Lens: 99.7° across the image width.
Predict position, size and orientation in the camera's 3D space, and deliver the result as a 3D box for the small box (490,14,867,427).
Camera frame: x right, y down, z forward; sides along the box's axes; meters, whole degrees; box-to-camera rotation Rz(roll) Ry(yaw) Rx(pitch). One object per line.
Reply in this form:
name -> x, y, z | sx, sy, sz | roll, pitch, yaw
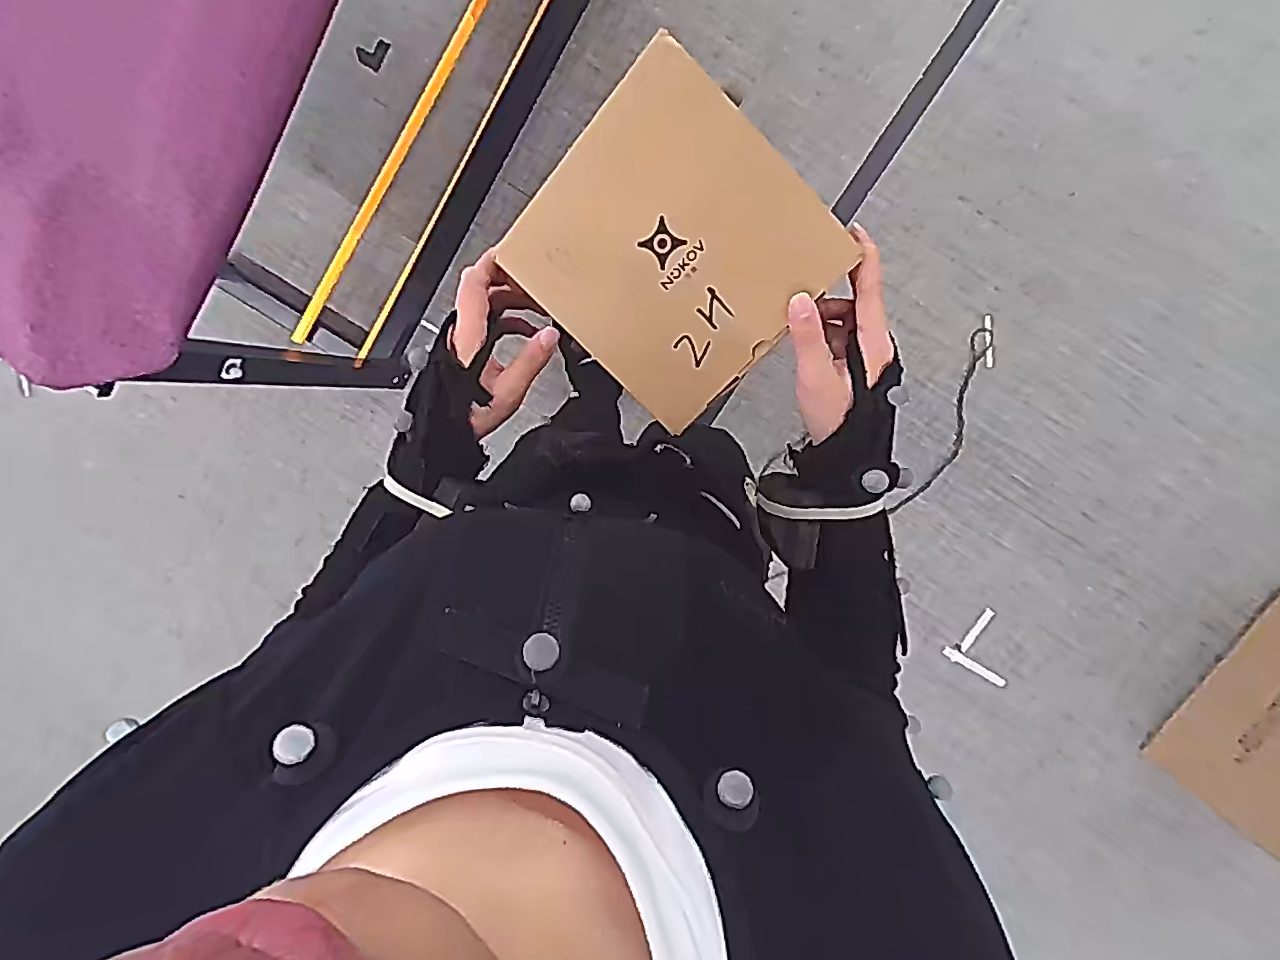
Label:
small box -> 0.029, -0.170, 0.405 | 0.179, 0.176, 0.168 | 44, 111, -9
